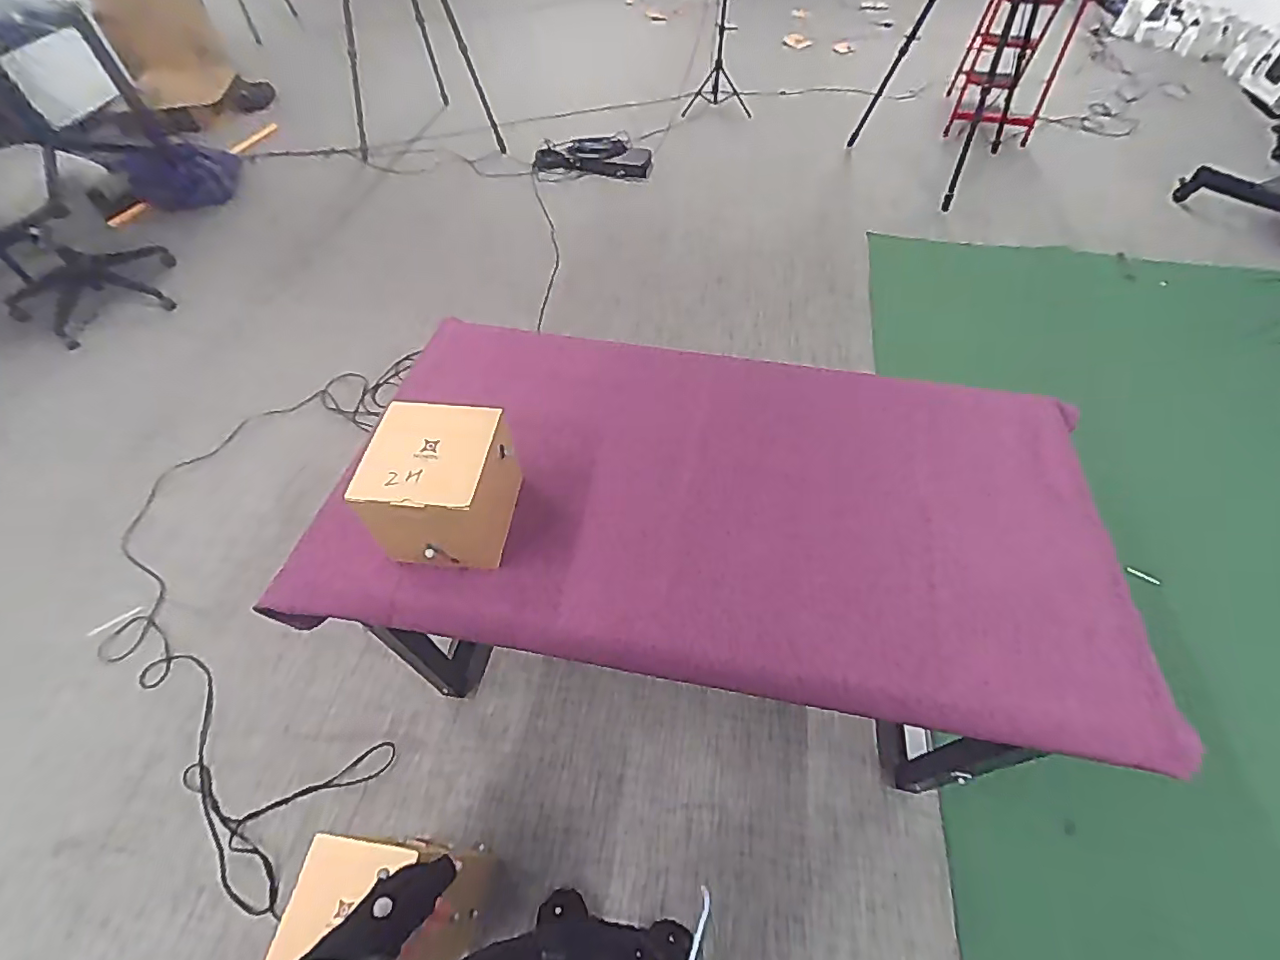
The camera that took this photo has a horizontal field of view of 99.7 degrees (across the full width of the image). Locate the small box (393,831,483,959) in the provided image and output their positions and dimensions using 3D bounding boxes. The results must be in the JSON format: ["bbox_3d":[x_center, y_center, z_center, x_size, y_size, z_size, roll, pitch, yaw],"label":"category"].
[{"bbox_3d":[-0.435,0.837,1.096,0.168,0.176,0.179,10,56,7],"label":"small box"}]

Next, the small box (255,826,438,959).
[{"bbox_3d":[-0.430,0.648,0.828,0.168,0.176,0.179,8,57,5],"label":"small box"}]

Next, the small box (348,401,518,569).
[{"bbox_3d":[-0.286,0.009,0.797,0.168,0.176,0.179,5,54,3],"label":"small box"}]
